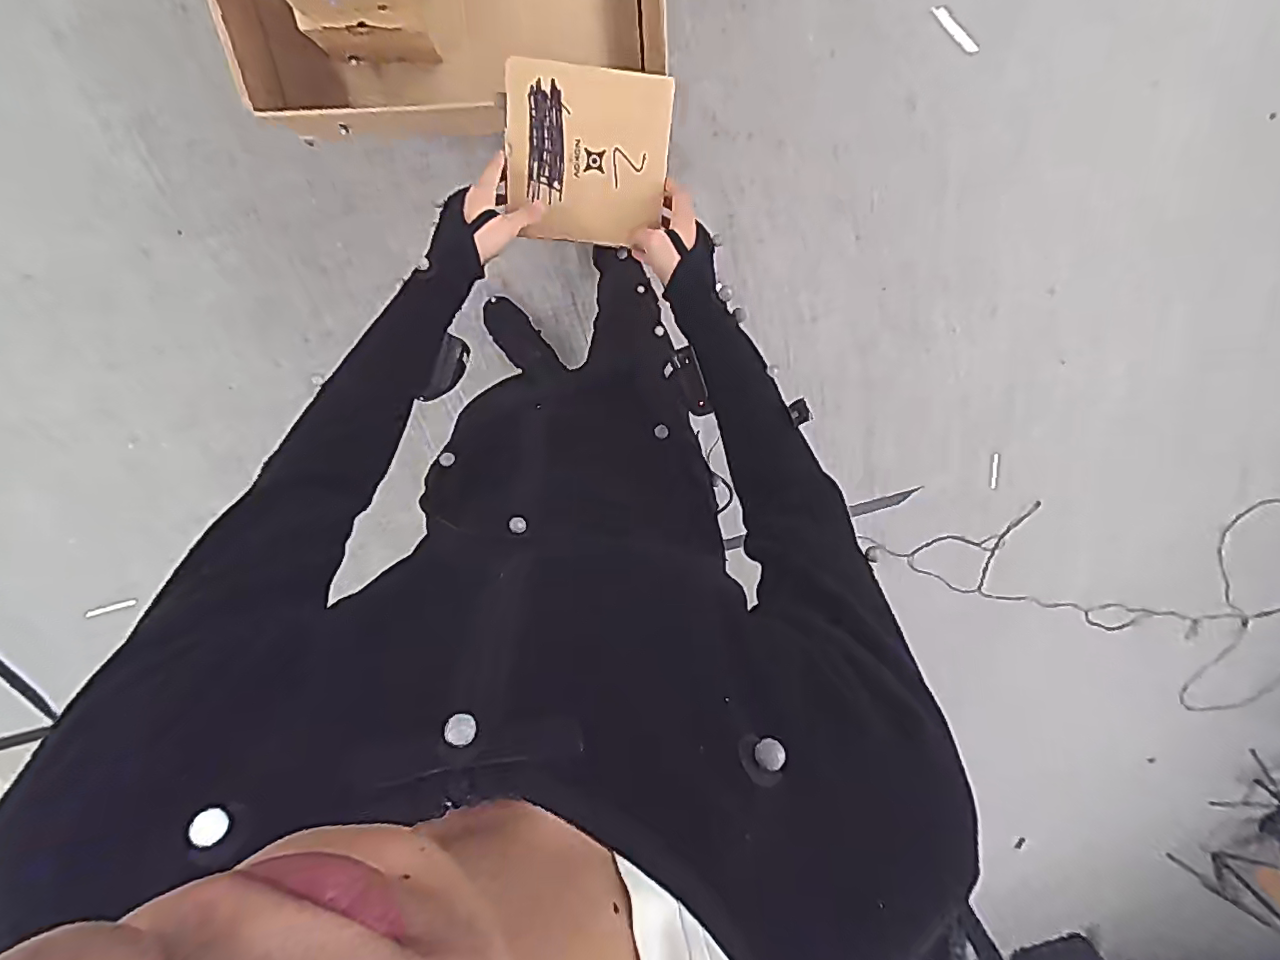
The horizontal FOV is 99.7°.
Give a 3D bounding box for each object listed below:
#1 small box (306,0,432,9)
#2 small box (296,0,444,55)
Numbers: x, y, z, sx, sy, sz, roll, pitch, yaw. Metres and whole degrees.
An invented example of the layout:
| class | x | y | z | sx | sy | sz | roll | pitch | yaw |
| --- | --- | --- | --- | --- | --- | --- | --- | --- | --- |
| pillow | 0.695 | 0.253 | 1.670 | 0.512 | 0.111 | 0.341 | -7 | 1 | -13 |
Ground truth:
| class | x | y | z | sx | sy | sz | roll | pitch | yaw |
| --- | --- | --- | --- | --- | --- | --- | --- | --- | --- |
| small box | -0.346 | -0.664 | 0.608 | 0.168 | 0.176 | 0.179 | -9 | 116 | -7 |
| small box | -0.382 | -0.722 | 0.756 | 0.168 | 0.176 | 0.179 | -6 | 115 | -8 |
